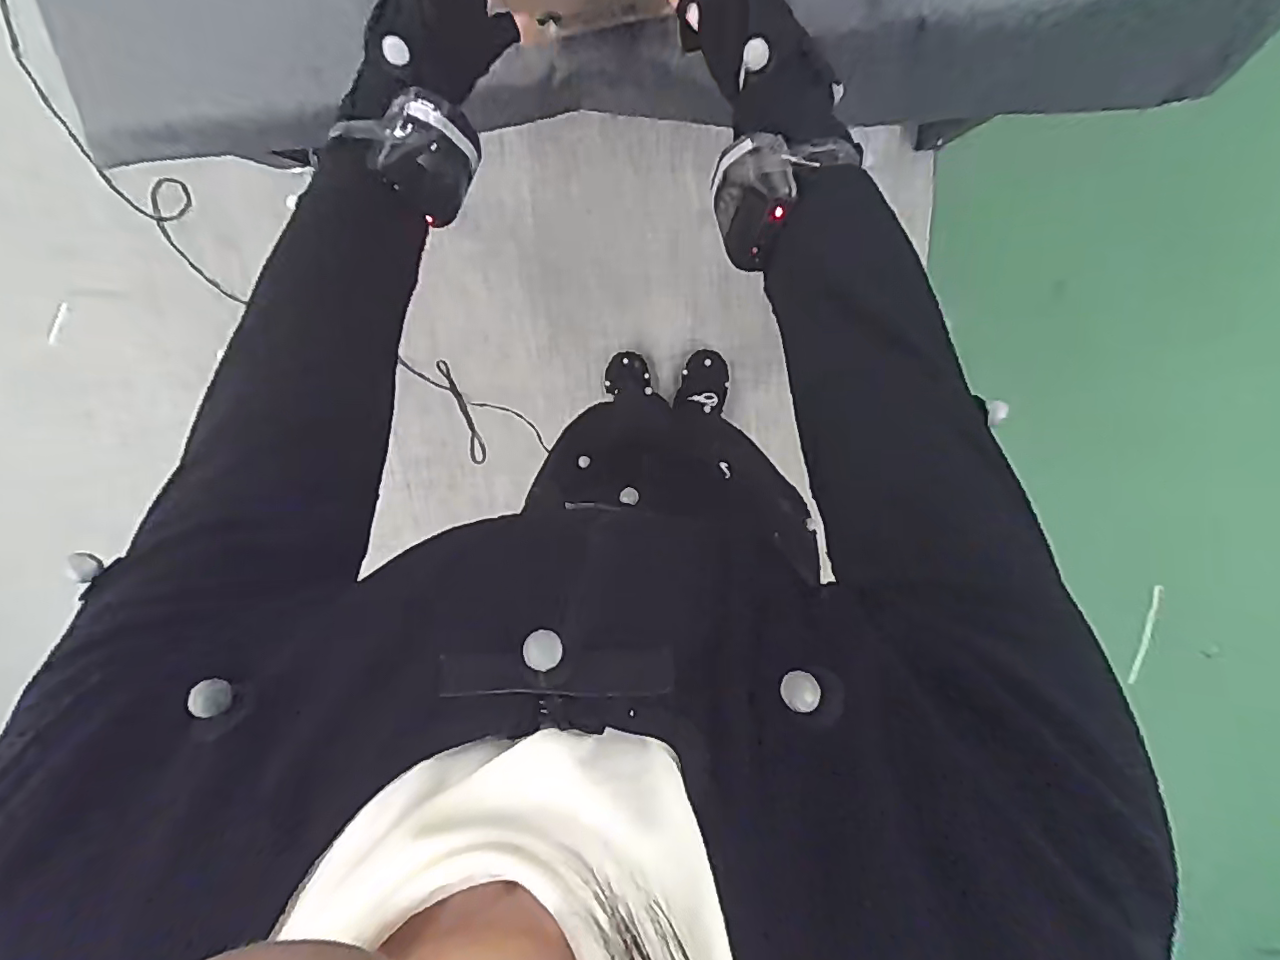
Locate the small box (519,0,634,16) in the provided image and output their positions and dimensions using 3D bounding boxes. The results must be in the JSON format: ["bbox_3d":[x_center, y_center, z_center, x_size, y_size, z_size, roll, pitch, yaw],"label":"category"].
[{"bbox_3d":[-0.043,-0.491,0.399,0.168,0.176,0.179,-11,103,2],"label":"small box"}]
